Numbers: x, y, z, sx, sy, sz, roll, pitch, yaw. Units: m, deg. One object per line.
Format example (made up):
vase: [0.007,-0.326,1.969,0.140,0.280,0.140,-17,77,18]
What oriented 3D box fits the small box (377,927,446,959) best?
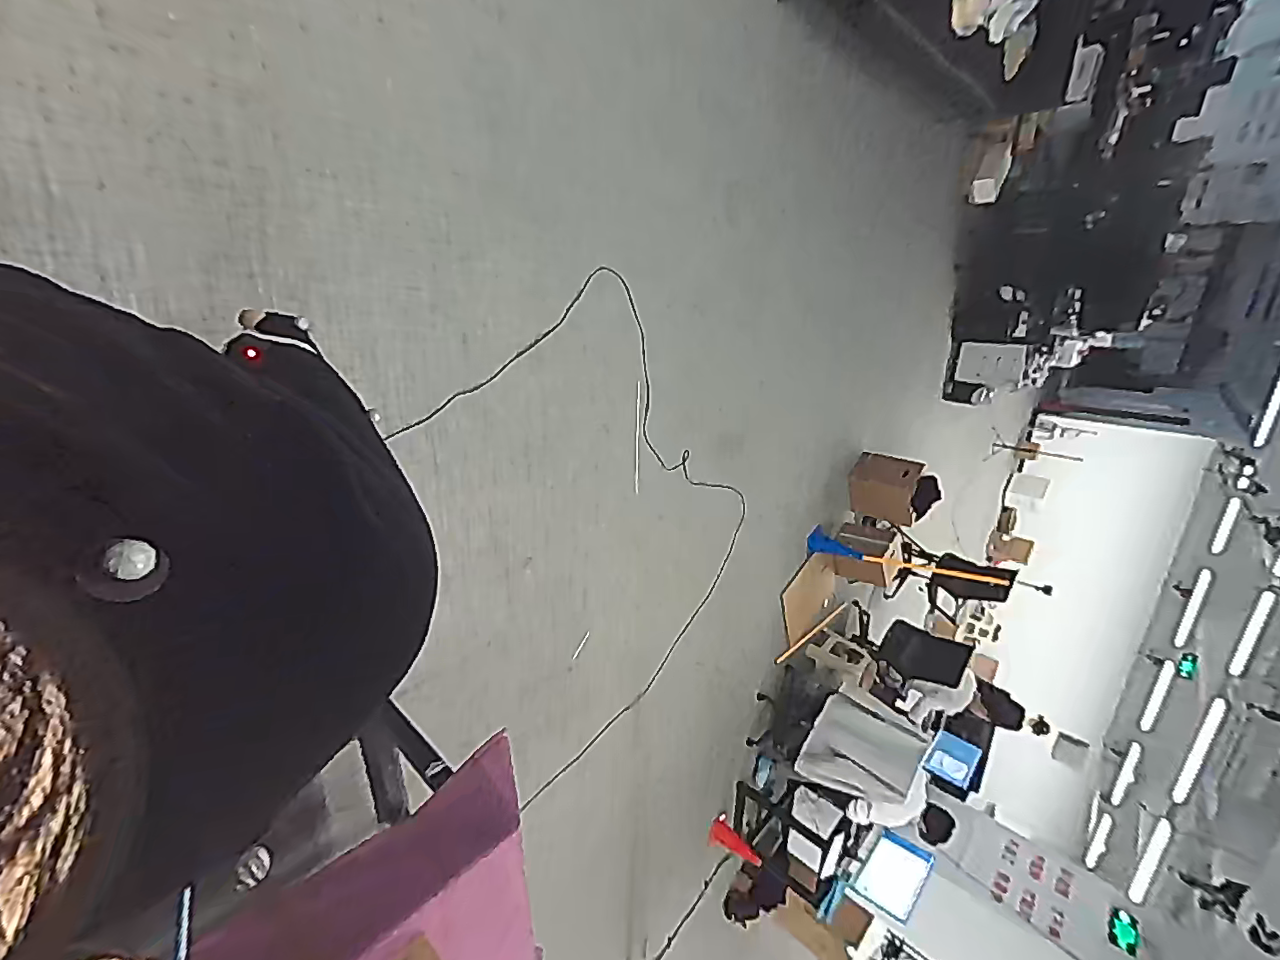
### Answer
small box: [-0.430,0.998,1.000,0.168,0.176,0.179,-20,118,-44]
